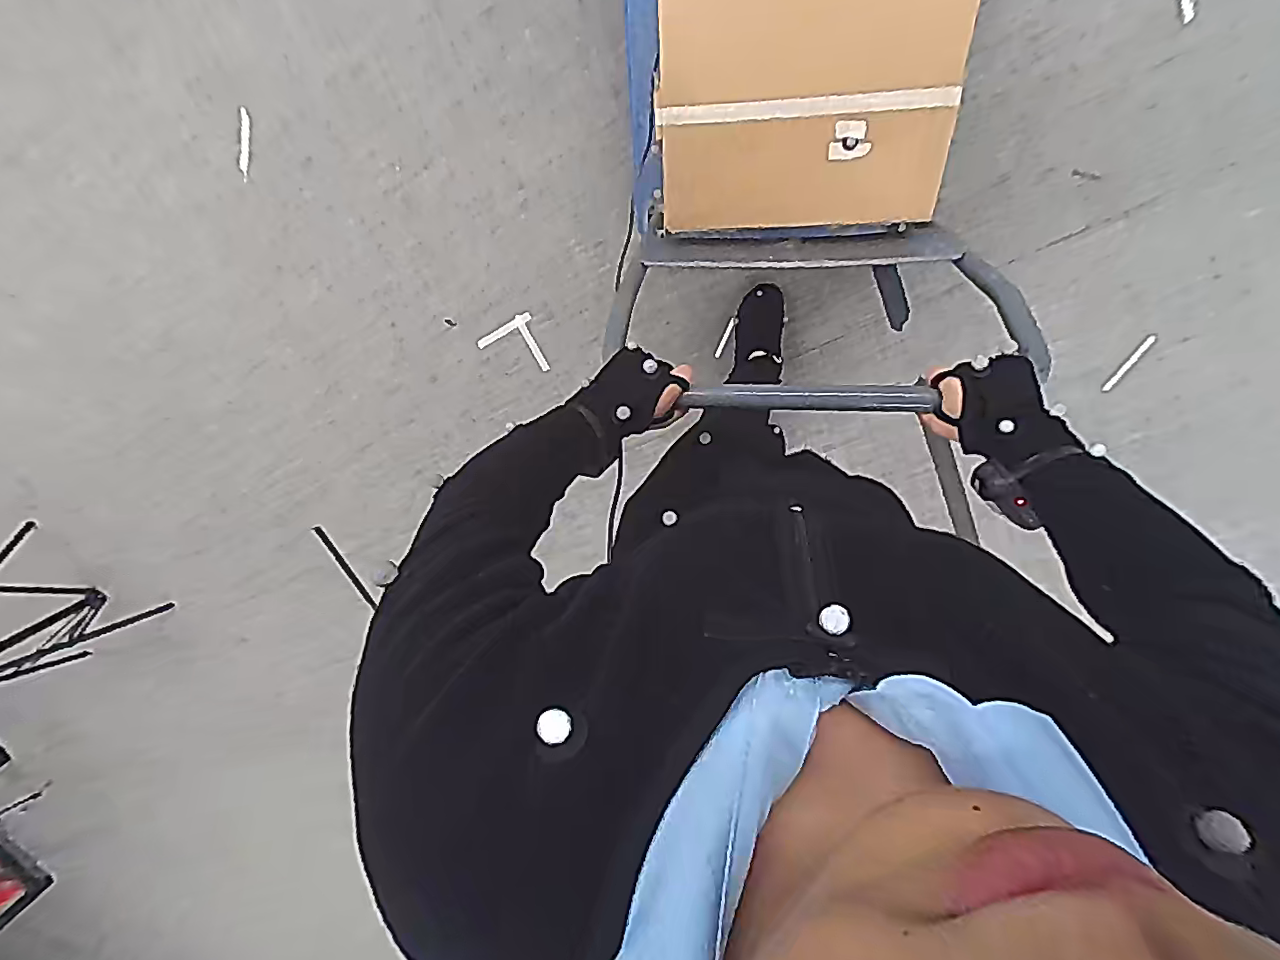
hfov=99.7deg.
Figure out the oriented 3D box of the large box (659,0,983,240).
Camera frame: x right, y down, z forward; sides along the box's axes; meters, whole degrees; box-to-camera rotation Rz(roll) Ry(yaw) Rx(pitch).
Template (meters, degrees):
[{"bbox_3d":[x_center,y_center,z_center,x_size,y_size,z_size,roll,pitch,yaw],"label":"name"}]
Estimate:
[{"bbox_3d":[0.247,-0.589,0.866,0.408,0.320,0.320,1,126,7],"label":"large box"}]
